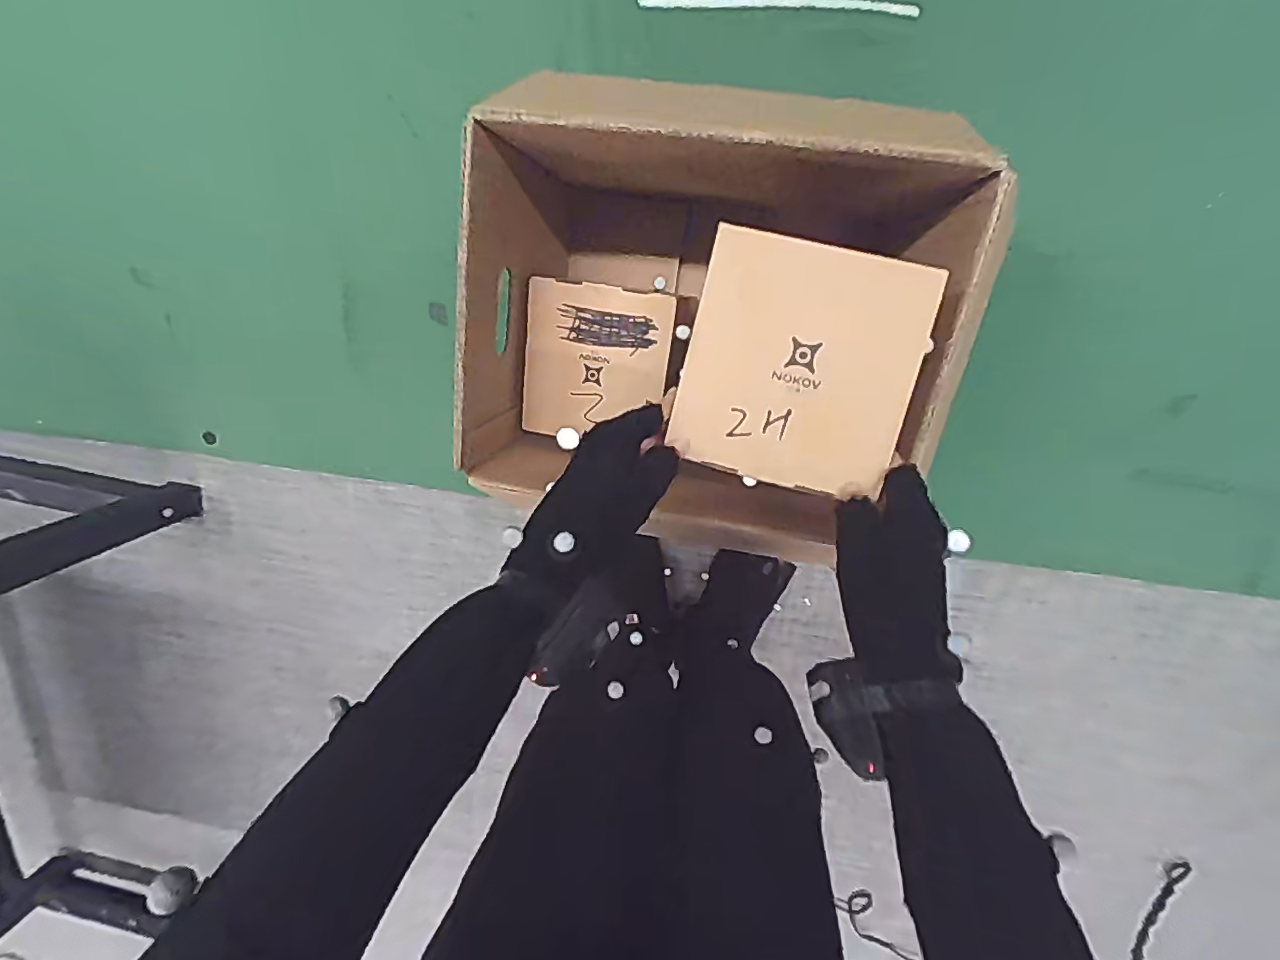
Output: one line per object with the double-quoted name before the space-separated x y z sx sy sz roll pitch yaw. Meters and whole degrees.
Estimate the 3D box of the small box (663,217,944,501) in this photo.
"small box" 0.124 -0.096 0.473 0.168 0.176 0.179 15 98 6
